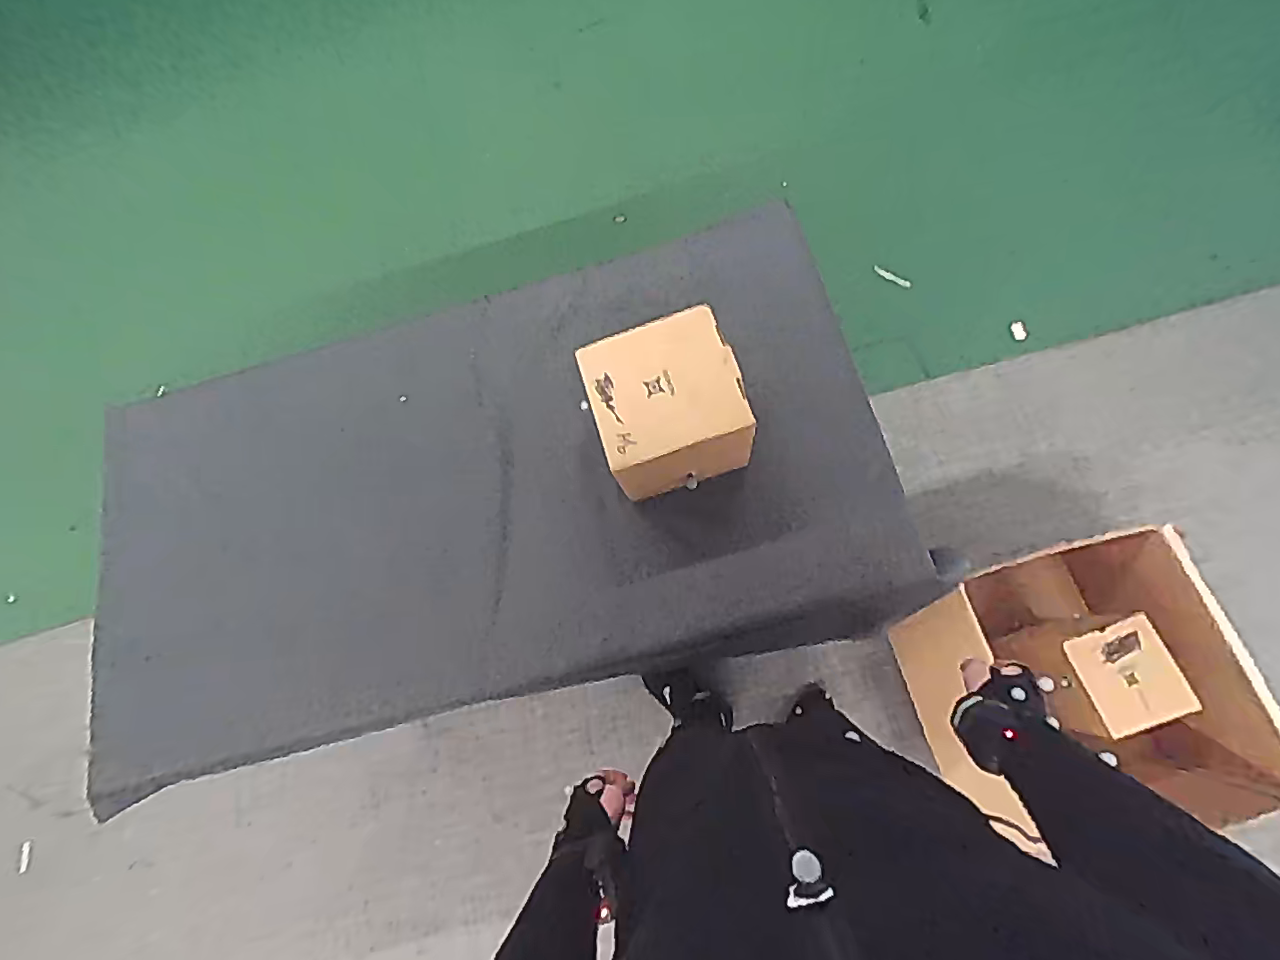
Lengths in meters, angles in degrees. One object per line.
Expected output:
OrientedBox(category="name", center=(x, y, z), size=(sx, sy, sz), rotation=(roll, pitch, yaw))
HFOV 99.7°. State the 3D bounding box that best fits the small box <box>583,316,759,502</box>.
OrientedBox(category="small box", center=(0.043, -0.084, 0.732), size=(0.179, 0.176, 0.168), rotation=(-21, 74, 2))
